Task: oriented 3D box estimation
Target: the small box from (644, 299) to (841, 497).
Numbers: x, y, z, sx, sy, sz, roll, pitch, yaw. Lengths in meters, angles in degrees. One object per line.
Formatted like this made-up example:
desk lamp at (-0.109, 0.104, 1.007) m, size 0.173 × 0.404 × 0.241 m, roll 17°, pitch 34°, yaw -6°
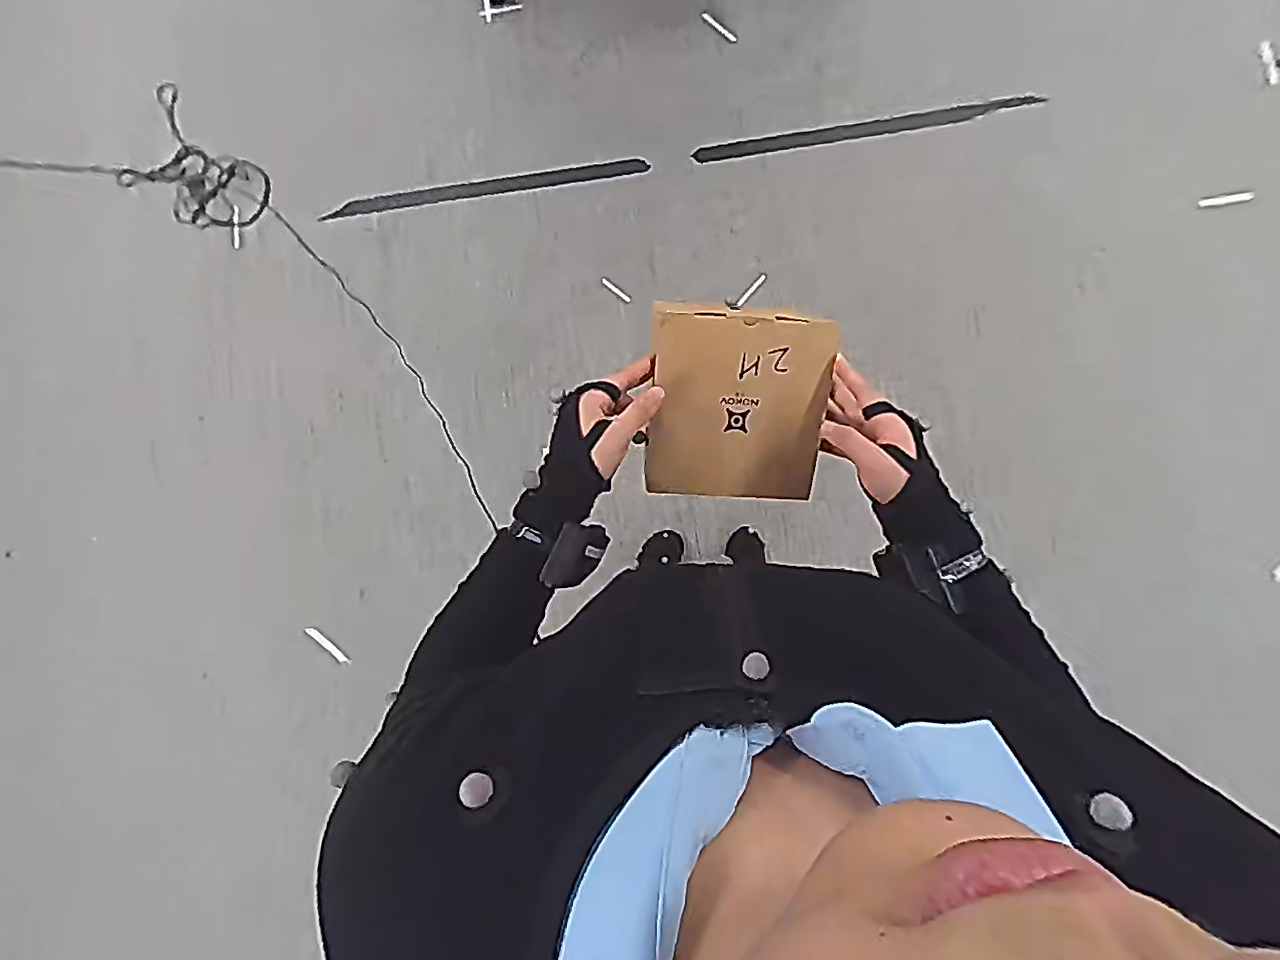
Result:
small box at (0.092, -0.096, 0.580) m, size 0.168 × 0.176 × 0.179 m, roll 3°, pitch 110°, yaw -2°
